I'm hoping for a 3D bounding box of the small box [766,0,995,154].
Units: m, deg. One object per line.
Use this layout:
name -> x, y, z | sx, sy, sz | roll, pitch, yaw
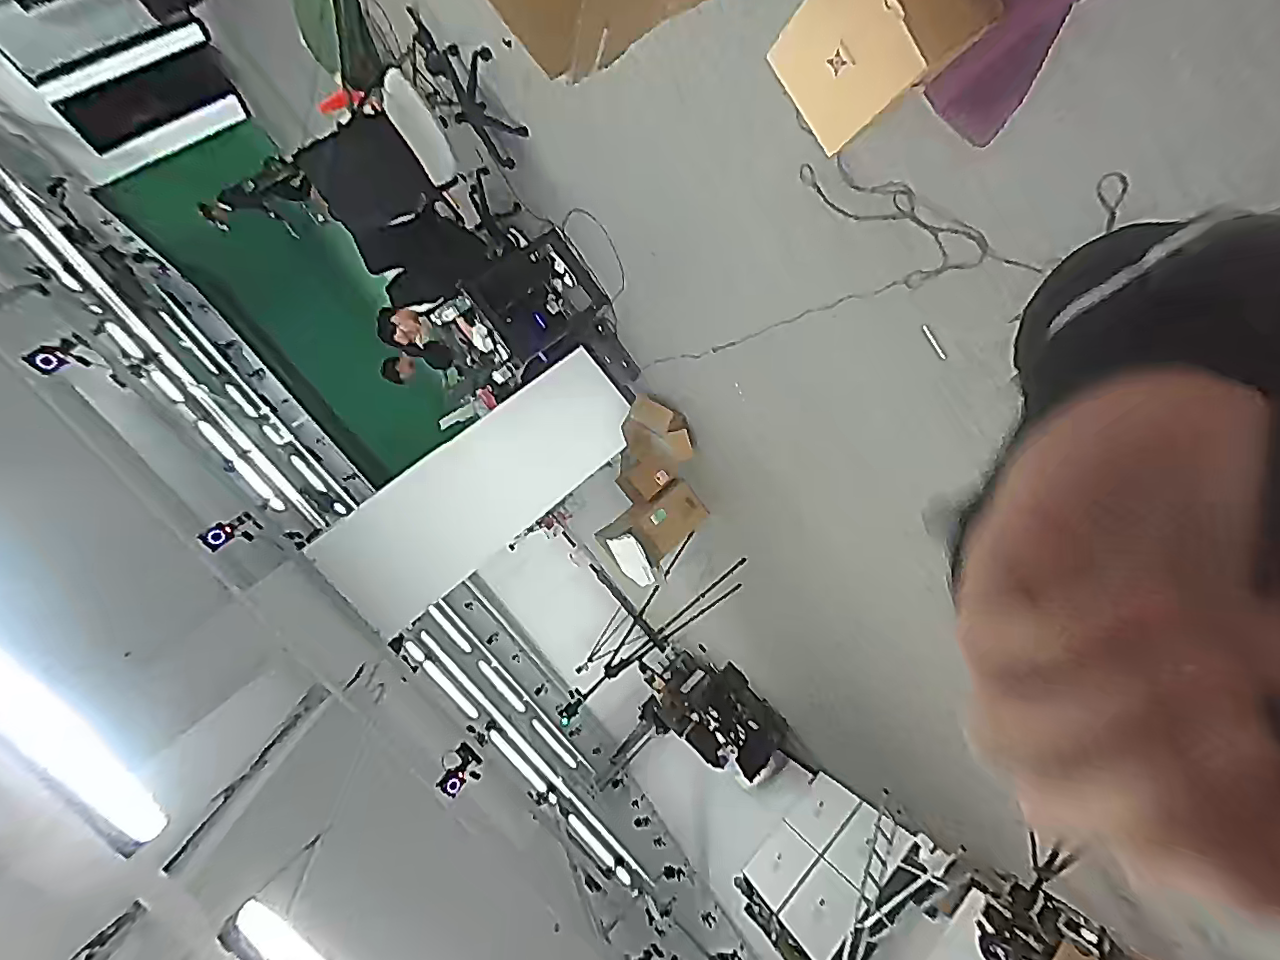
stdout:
small box -> 0.308, -0.583, 0.706 | 0.168, 0.176, 0.179 | 52, 162, -9
